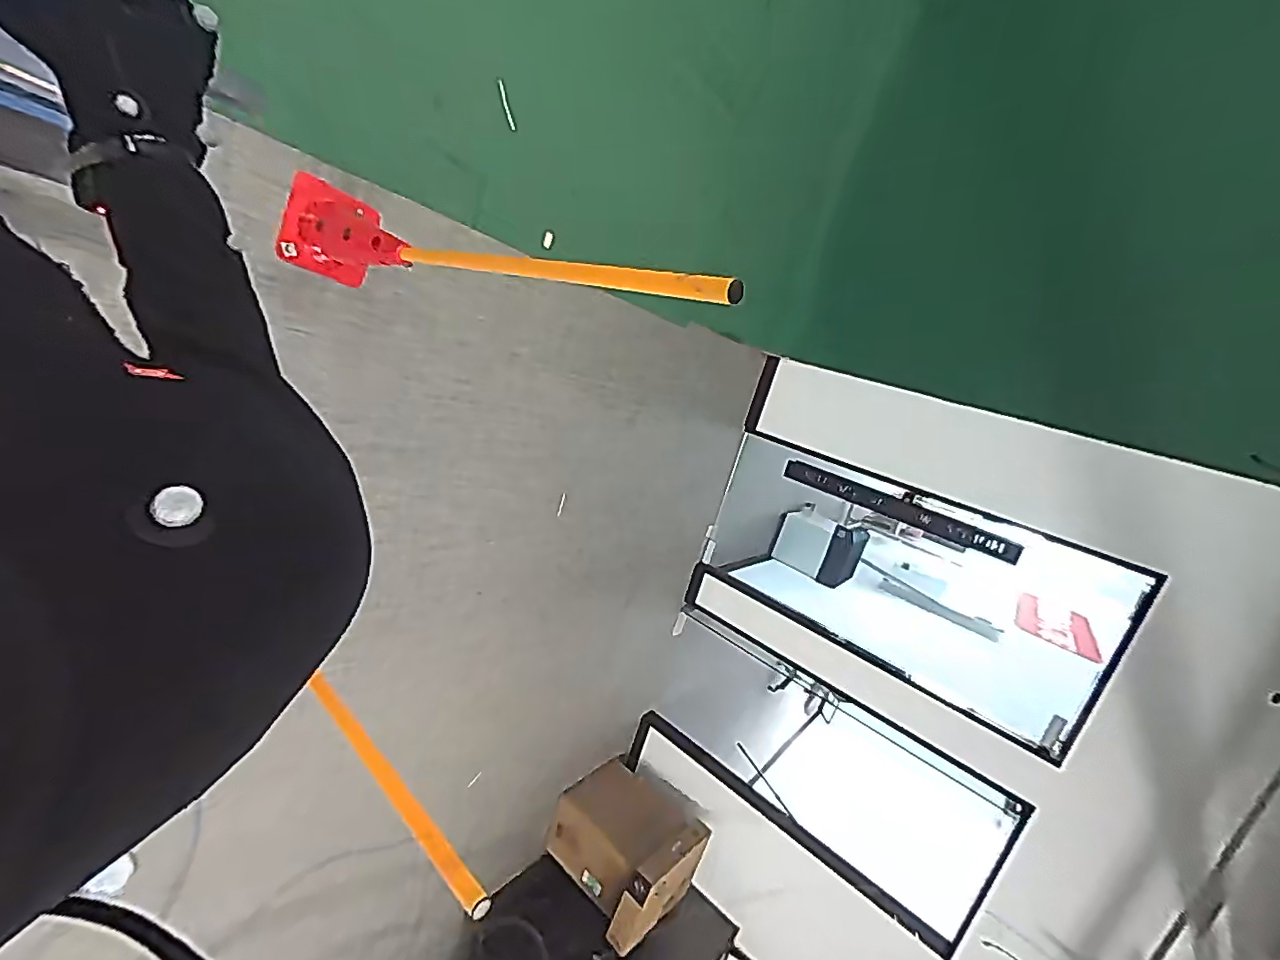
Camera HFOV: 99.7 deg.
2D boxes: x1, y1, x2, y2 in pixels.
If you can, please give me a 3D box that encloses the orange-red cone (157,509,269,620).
[{"bbox_3d":[-0.951,0.225,1.261,0.199,0.360,0.198,2,109,-53],"label":"orange-red cone"}]
